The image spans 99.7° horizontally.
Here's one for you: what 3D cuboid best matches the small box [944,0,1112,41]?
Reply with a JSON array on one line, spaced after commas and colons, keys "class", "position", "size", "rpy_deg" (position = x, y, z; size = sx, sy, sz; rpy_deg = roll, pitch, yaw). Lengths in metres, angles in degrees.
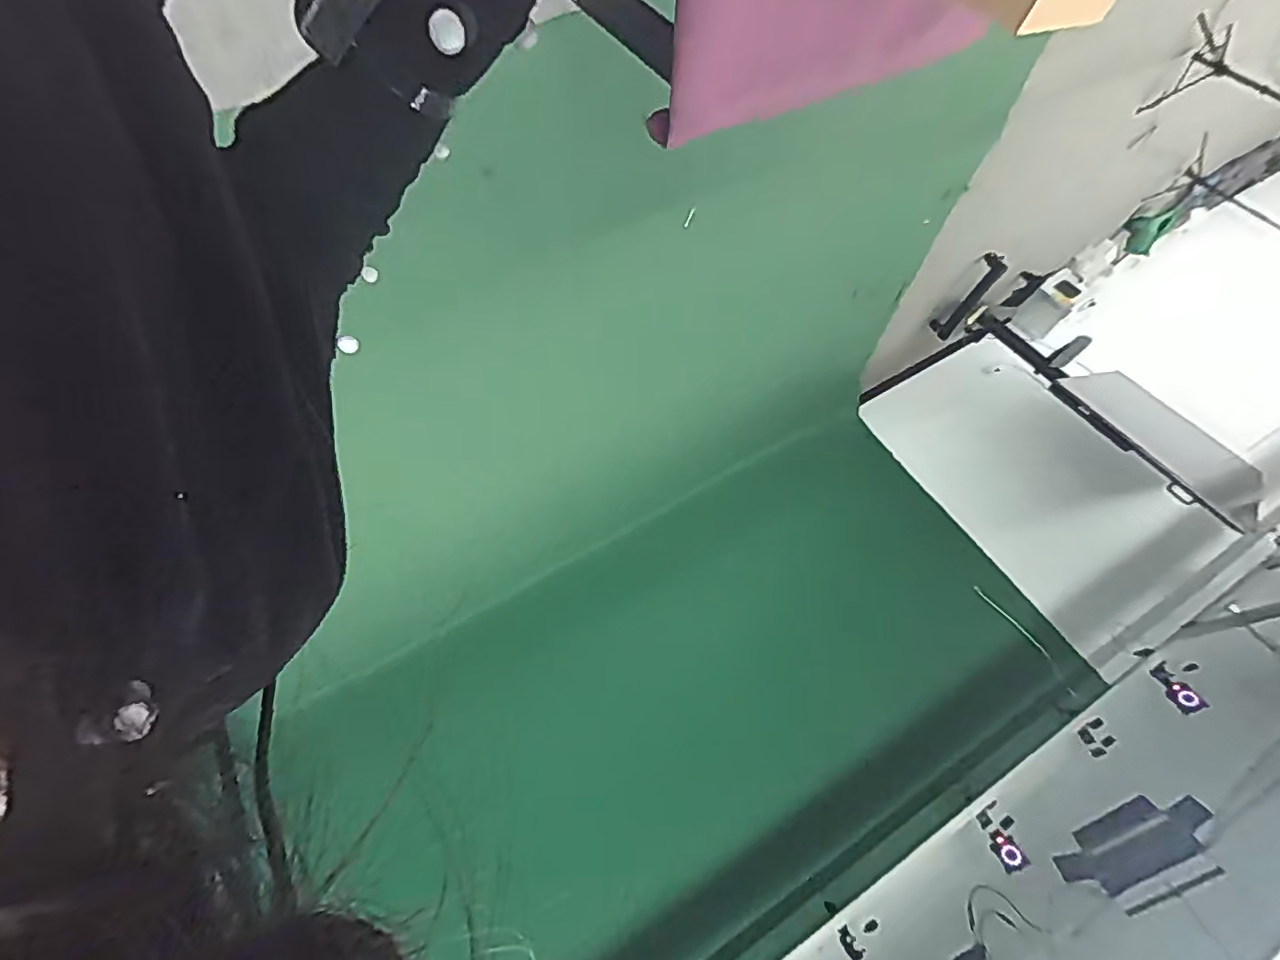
[{"class": "small box", "position": [0.423, -0.597, 0.557], "size": [0.168, 0.176, 0.179], "rpy_deg": [-24, 155, -22]}]
